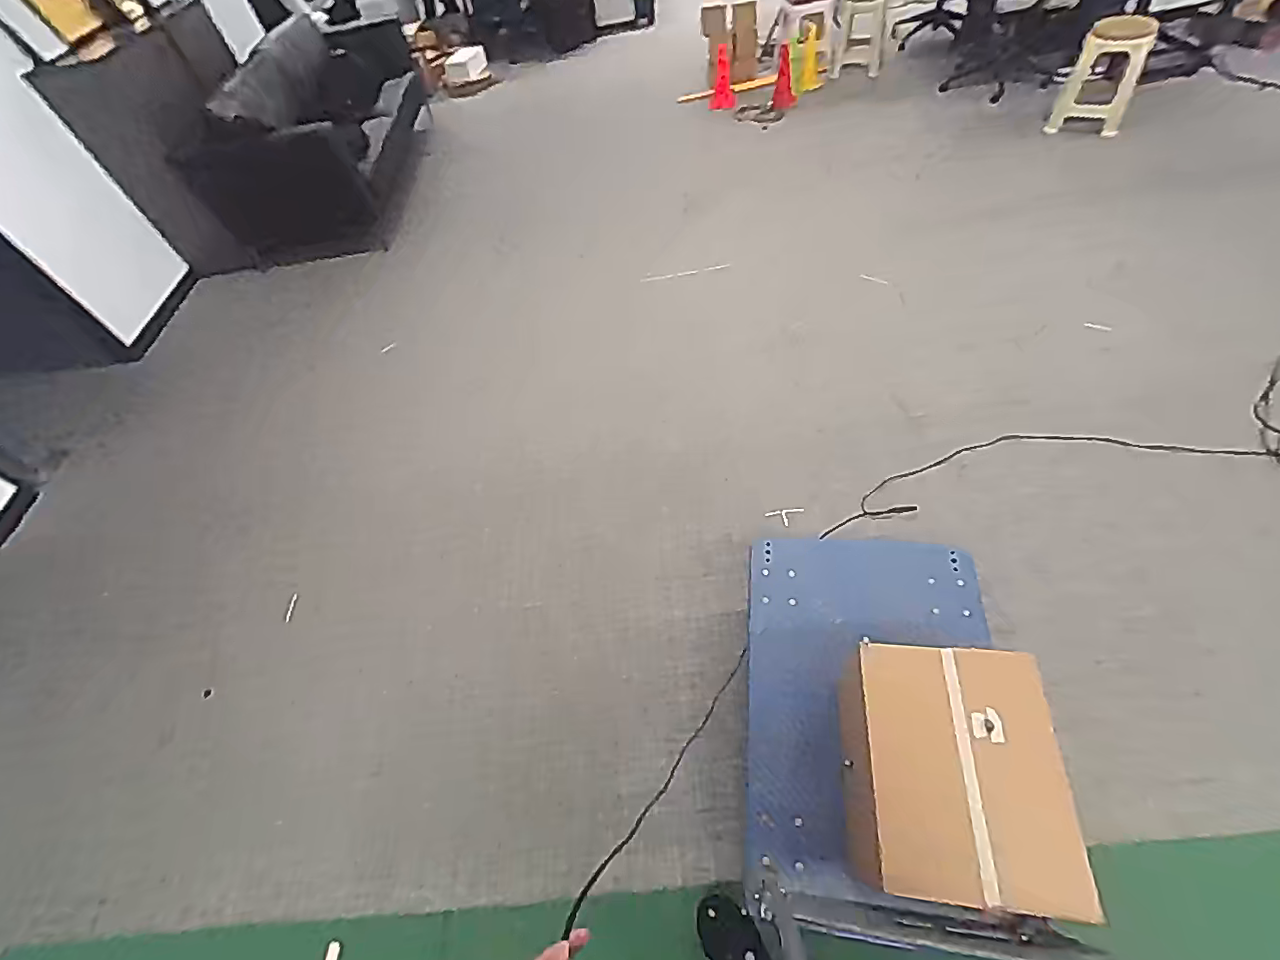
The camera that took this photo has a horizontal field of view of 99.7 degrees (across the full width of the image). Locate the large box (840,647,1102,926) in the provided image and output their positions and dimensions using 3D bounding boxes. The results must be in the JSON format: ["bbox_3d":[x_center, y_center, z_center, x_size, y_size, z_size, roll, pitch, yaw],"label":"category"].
[{"bbox_3d":[0.586,0.582,1.059,0.320,0.320,0.408,2,57,11],"label":"large box"}]
